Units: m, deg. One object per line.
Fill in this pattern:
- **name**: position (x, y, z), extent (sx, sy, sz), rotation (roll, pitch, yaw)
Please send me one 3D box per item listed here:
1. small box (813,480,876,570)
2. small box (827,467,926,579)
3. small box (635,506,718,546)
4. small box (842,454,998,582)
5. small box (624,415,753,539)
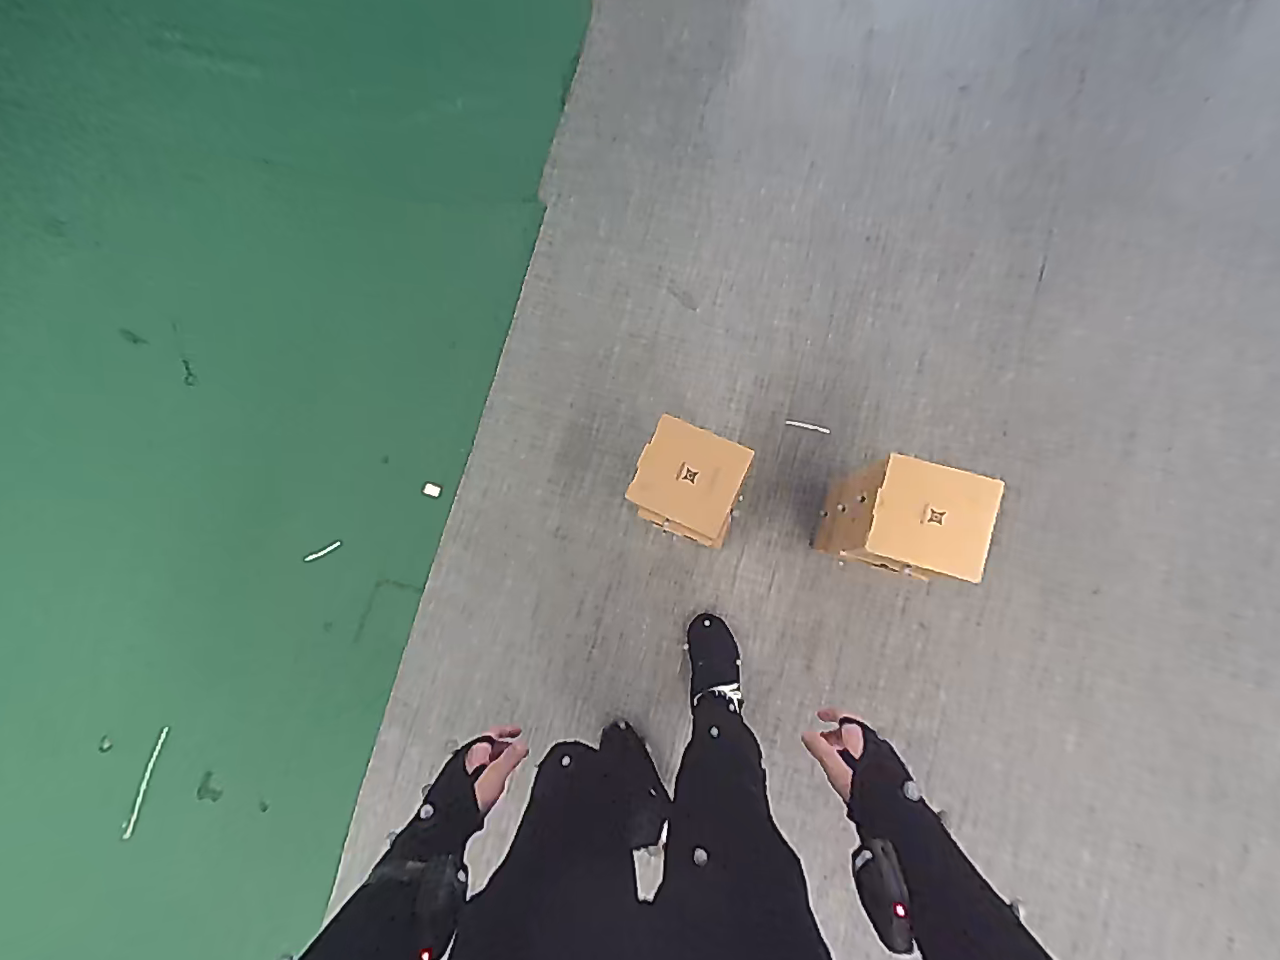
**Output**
- **small box**: position (0.514, 0.110, 1.254), extent (0.179, 0.176, 0.168), rotation (16, 85, 11)
- **small box**: position (0.488, 0.091, 1.094), extent (0.168, 0.176, 0.179), rotation (17, 84, 12)
- **small box**: position (0.110, 0.035, 1.167), extent (0.168, 0.176, 0.179), rotation (22, 86, 13)
- **small box**: position (0.470, 0.068, 0.933), extent (0.179, 0.176, 0.168), rotation (15, 84, 12)
- **small box**: position (0.095, 0.004, 1.008), extent (0.179, 0.176, 0.168), rotation (25, 86, 12)
